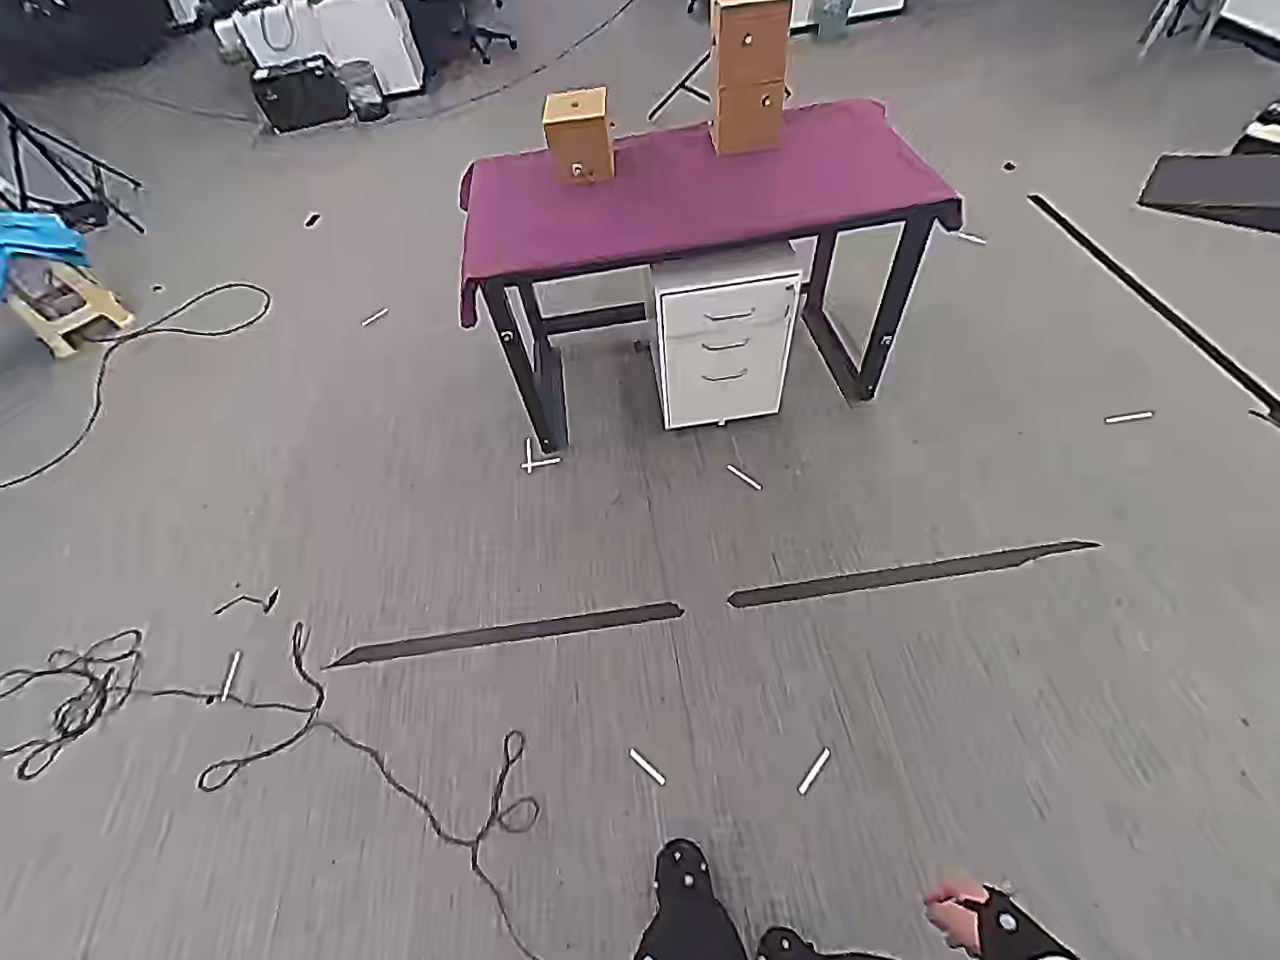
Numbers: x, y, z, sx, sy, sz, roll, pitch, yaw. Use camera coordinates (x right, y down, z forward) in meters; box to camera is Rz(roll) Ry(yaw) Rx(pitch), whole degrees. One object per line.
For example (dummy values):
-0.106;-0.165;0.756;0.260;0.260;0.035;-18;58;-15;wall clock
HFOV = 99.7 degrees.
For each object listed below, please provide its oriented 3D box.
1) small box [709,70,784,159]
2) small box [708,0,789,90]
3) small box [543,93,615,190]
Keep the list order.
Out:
0.291;-1.032;1.516;0.179;0.176;0.168;-7;55;3;small box
0.273;-1.128;1.384;0.179;0.176;0.168;-6;55;4;small box
-0.165;-0.941;1.507;0.168;0.176;0.179;-5;56;4;small box
